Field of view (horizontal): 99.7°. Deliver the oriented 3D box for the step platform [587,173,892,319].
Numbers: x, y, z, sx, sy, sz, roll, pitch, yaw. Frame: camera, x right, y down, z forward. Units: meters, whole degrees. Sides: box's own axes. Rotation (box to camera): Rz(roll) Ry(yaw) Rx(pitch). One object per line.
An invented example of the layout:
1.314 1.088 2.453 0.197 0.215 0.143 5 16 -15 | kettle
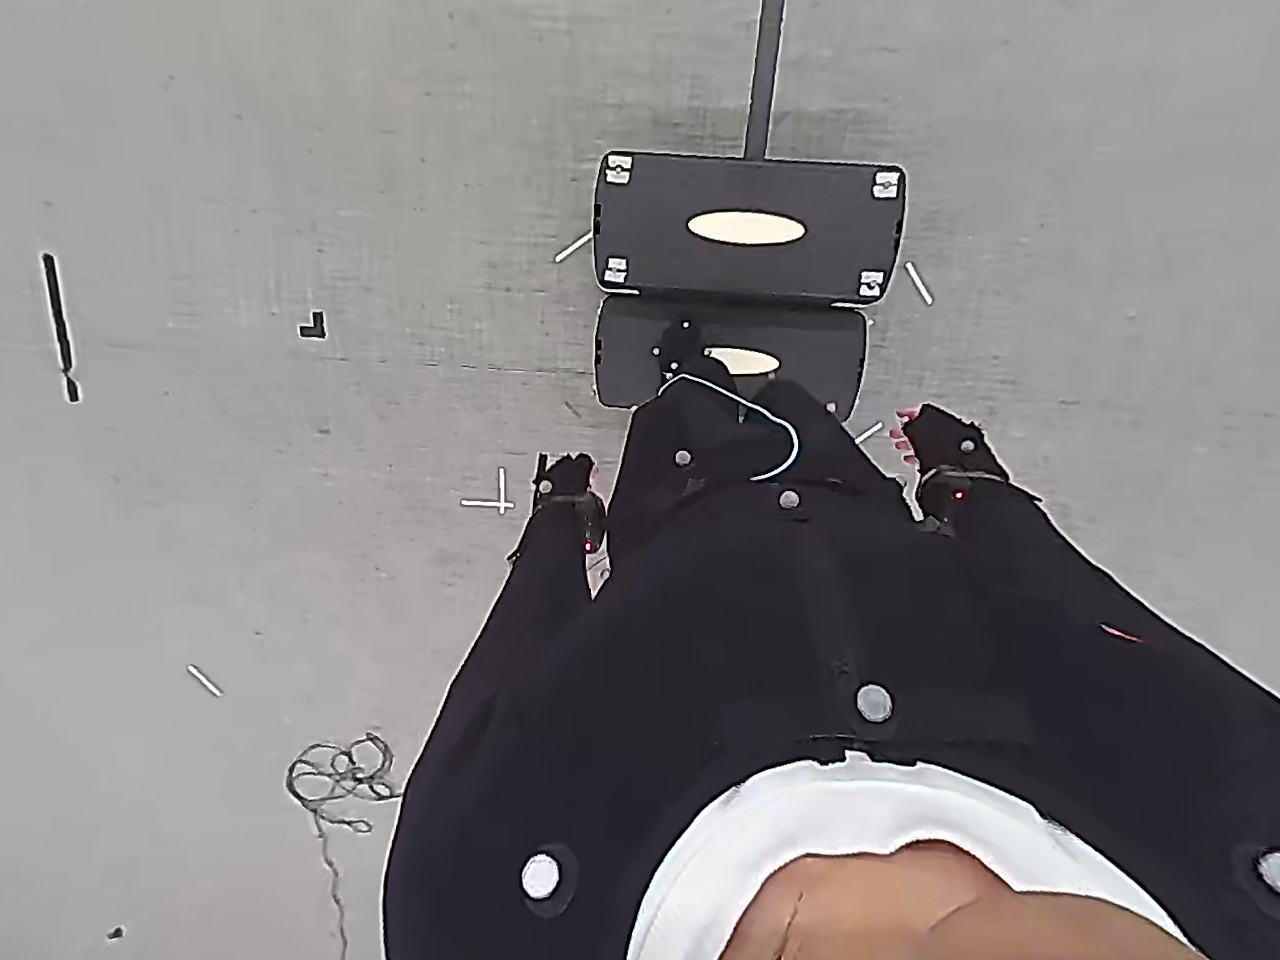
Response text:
0.216 -0.540 1.271 0.684 0.204 0.286 3 106 2 | step platform
